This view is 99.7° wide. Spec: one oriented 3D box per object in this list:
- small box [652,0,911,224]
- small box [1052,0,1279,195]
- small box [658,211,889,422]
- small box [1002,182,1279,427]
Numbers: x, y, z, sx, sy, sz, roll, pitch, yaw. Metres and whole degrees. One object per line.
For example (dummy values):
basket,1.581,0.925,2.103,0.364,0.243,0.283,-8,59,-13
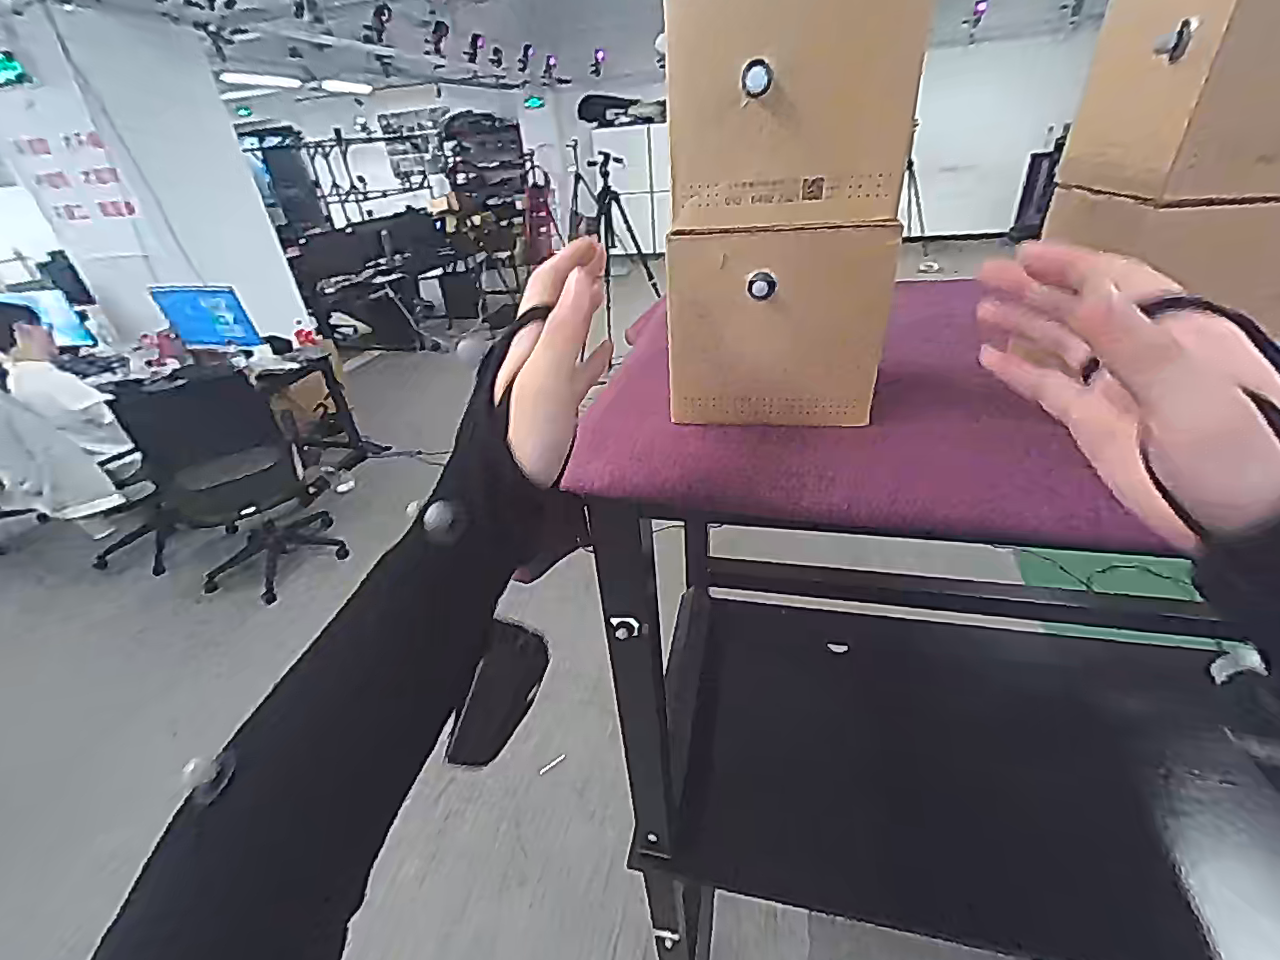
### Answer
small box,0.107,-0.303,0.435,0.168,0.176,0.179,1,31,10
small box,0.431,-0.296,0.373,0.168,0.176,0.179,4,32,13
small box,0.118,-0.164,0.517,0.179,0.176,0.168,2,32,10
small box,0.443,-0.153,0.451,0.179,0.176,0.168,3,32,14
